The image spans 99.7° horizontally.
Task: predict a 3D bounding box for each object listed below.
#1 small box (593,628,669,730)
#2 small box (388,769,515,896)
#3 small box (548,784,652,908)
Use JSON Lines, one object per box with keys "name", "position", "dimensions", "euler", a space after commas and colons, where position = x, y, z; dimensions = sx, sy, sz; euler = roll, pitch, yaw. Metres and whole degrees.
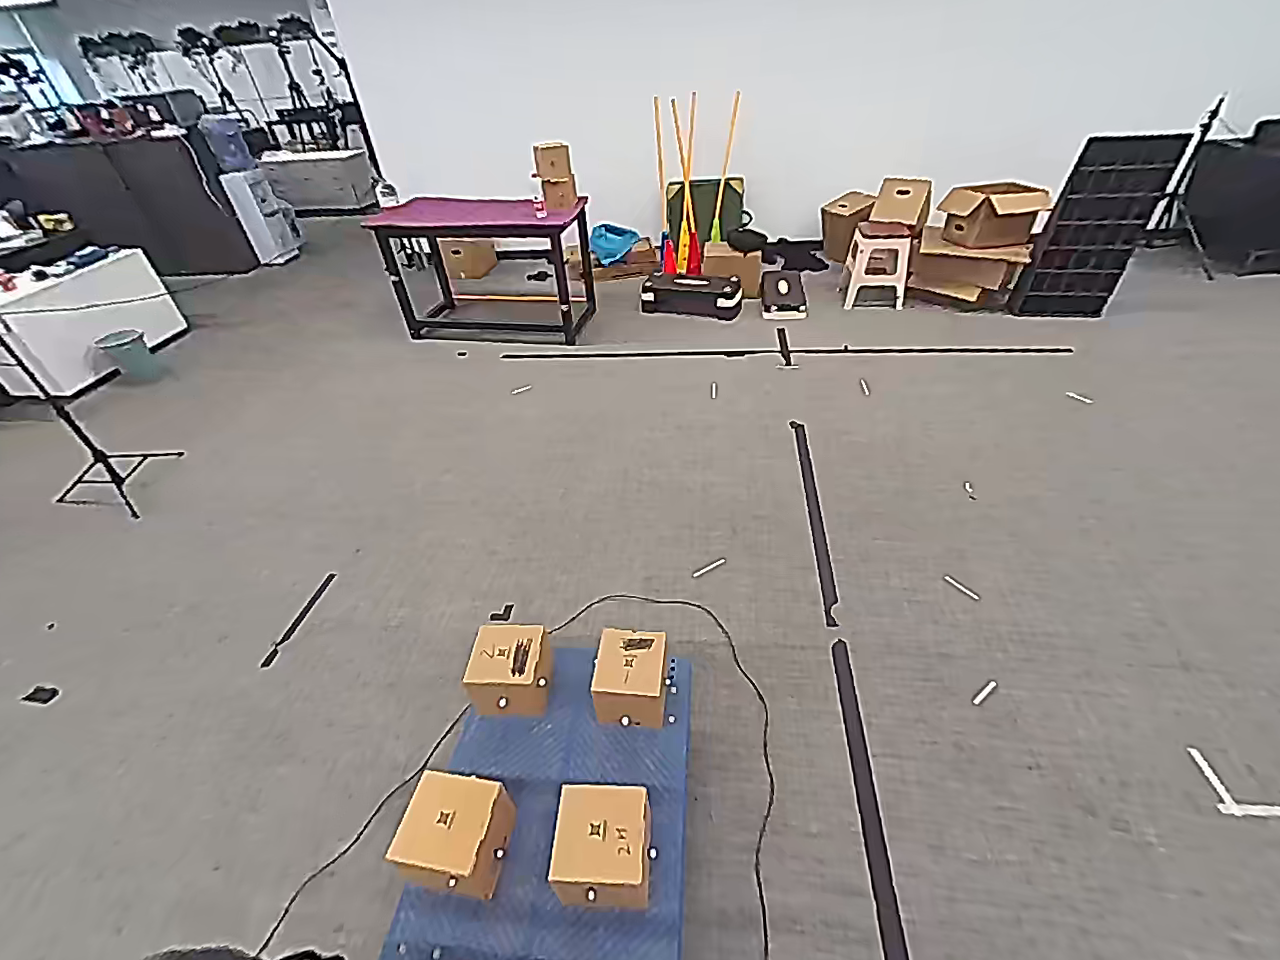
{"name": "small box", "position": [-0.017, 0.502, 1.369], "dimensions": [0.168, 0.176, 0.179], "euler": [2, 41, 8]}
{"name": "small box", "position": [-0.379, 0.732, 1.122], "dimensions": [0.179, 0.176, 0.168], "euler": [5, 39, 8]}
{"name": "small box", "position": [-0.072, 0.736, 1.088], "dimensions": [0.179, 0.176, 0.168], "euler": [0, 39, 5]}
